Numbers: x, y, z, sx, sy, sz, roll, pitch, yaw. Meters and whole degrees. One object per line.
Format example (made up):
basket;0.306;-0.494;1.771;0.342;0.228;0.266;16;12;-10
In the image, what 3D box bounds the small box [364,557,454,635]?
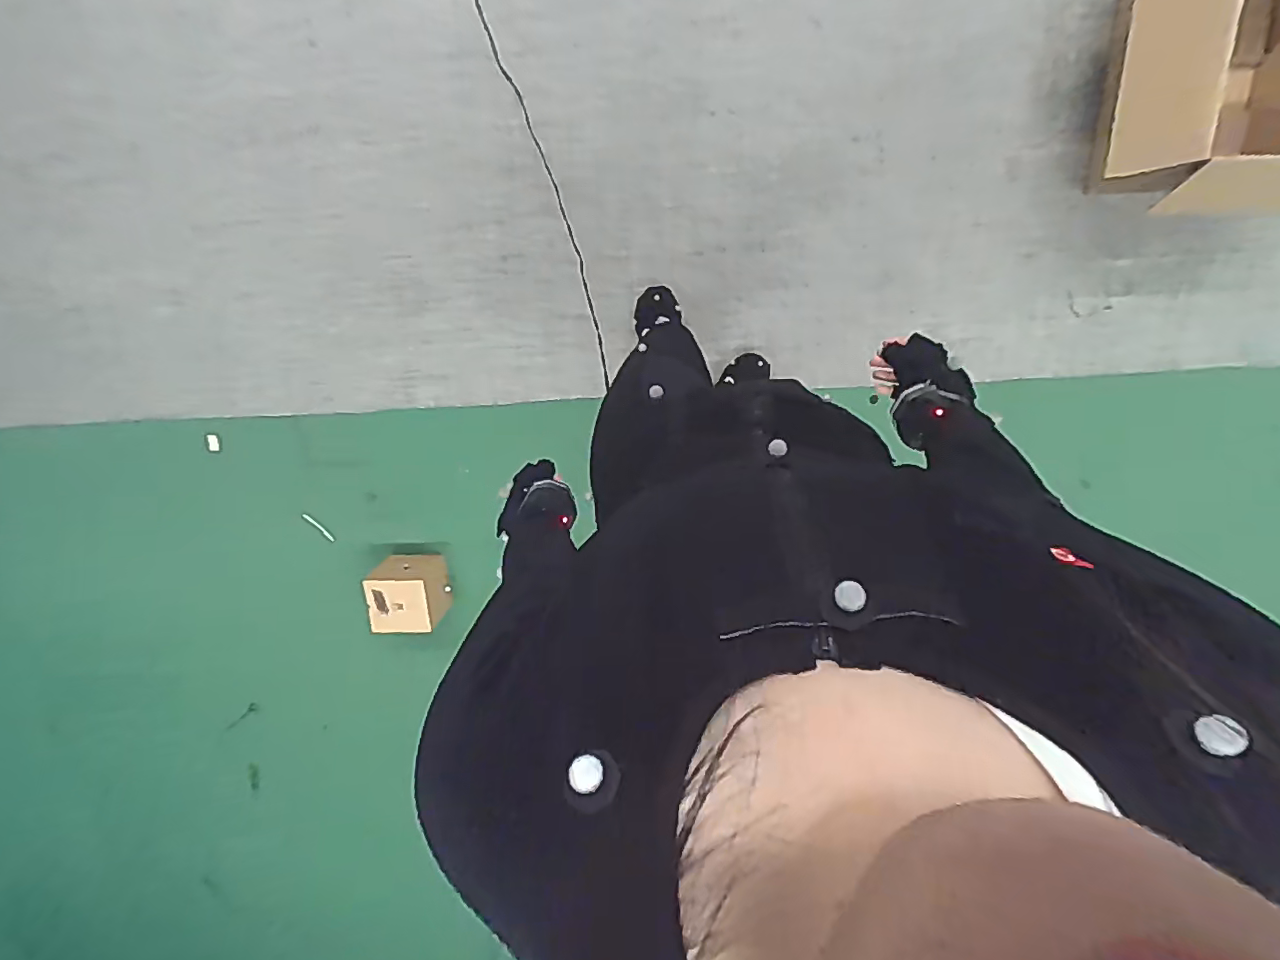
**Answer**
small box;-0.664;0.334;1.572;0.179;0.176;0.168;-1;107;4
